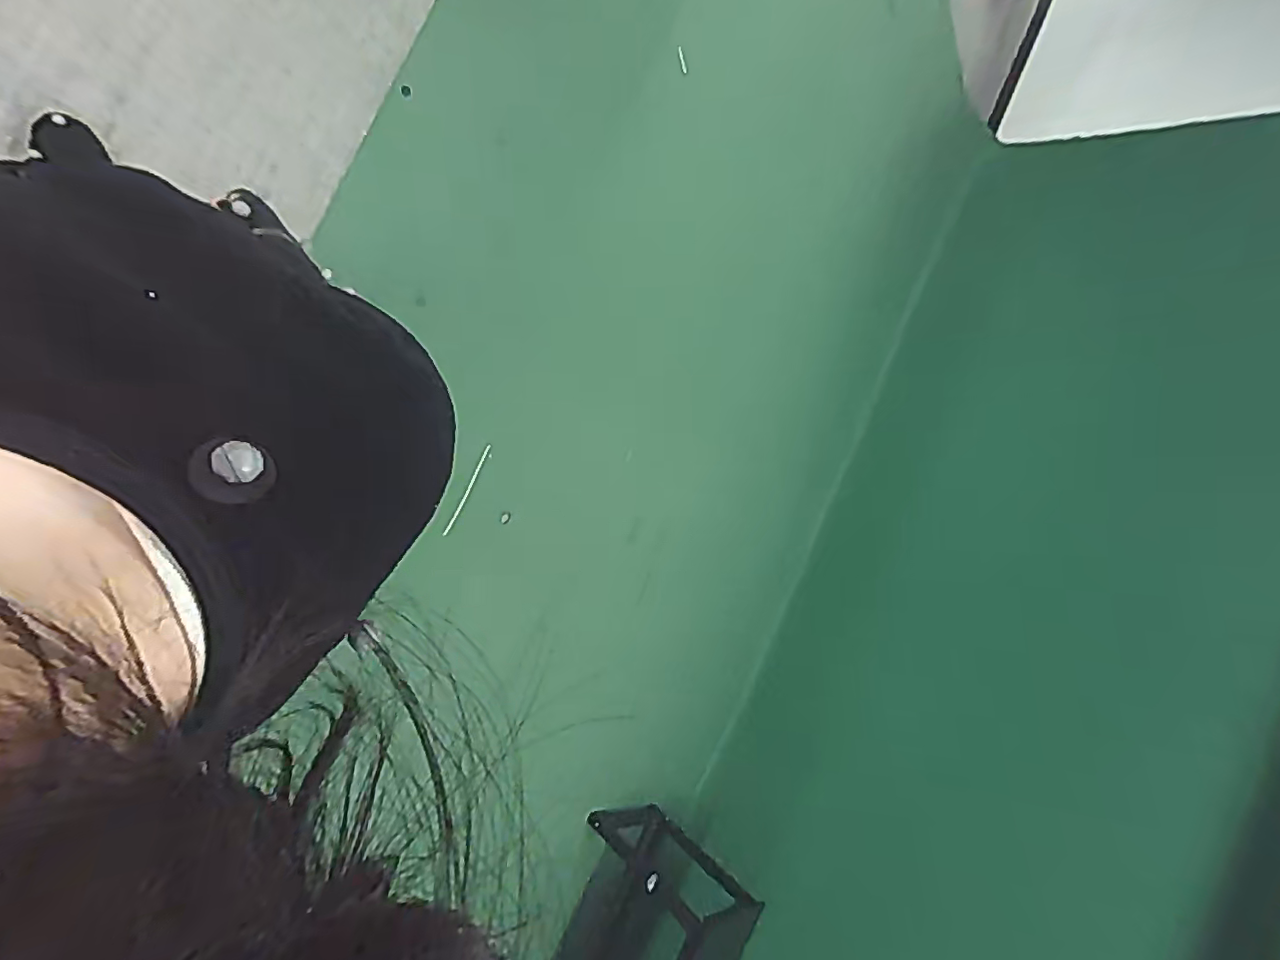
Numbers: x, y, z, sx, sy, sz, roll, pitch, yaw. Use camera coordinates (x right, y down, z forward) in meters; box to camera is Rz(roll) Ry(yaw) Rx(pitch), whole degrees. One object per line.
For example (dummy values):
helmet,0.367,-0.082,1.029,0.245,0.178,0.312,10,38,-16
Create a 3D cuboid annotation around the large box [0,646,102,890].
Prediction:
large box,-1.257,0.526,0.953,0.408,0.320,0.320,8,101,-48
